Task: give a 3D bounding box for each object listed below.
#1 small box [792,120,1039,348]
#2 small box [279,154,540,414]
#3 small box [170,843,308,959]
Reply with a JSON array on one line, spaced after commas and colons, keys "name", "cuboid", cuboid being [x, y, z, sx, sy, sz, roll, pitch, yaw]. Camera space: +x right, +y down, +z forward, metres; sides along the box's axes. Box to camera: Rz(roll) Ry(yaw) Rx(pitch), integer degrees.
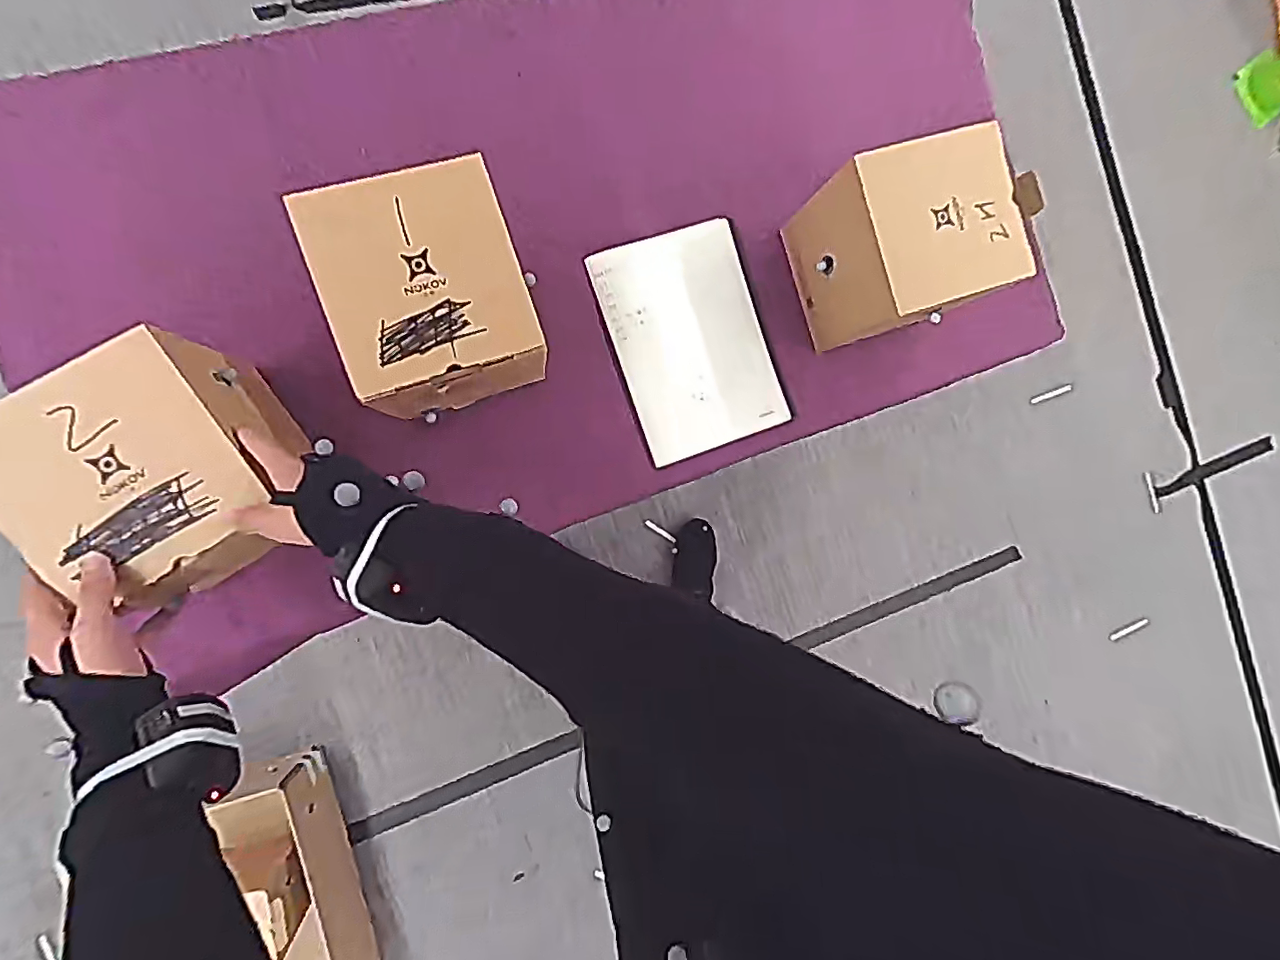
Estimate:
[{"name": "small box", "cuboid": [0.296, -0.266, 0.621, 0.179, 0.176, 0.168, -19, 94, -10]}, {"name": "small box", "cuboid": [-0.200, -0.170, 0.527, 0.168, 0.176, 0.179, -19, 93, -10]}, {"name": "small box", "cuboid": [-0.809, 0.890, 1.113, 0.179, 0.176, 0.168, -6, 92, -11]}]
